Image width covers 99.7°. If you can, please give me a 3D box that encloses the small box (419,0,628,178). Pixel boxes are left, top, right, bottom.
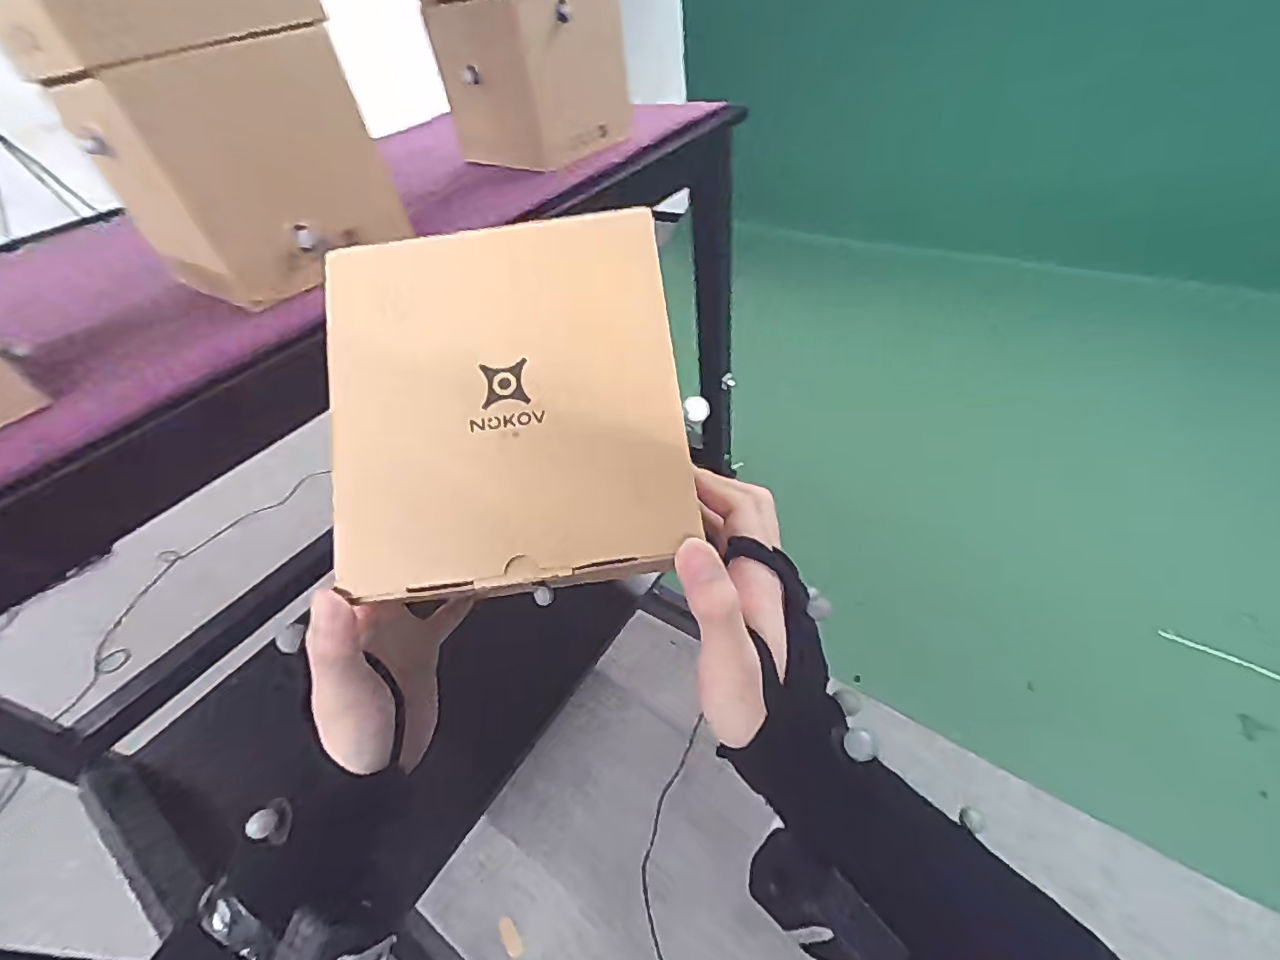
[{"bbox_3d":[-0.137,-0.501,0.688,0.179,0.176,0.168,24,54,31],"label":"small box"}]

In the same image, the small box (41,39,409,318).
[{"bbox_3d":[-0.346,-0.263,0.478,0.179,0.176,0.168,23,53,31],"label":"small box"}]

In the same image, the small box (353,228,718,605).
[{"bbox_3d":[-0.054,-0.021,0.340,0.168,0.176,0.179,-8,79,0],"label":"small box"}]
